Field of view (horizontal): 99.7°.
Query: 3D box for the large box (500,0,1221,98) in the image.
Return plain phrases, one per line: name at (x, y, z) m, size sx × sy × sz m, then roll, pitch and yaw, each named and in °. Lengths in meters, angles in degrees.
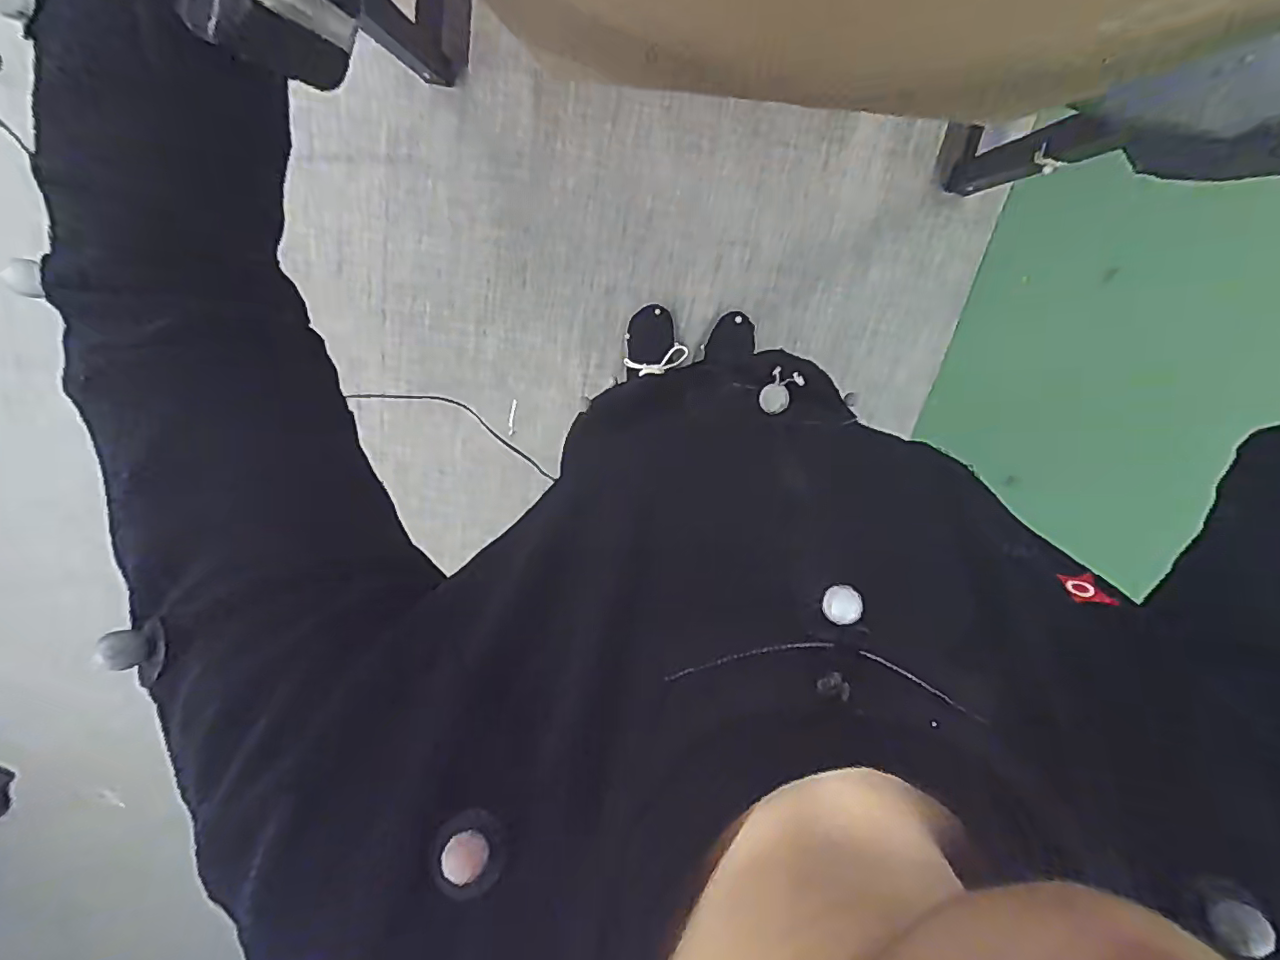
large box at (0.115, -0.417, 0.267) m, size 0.408 × 0.320 × 0.320 m, roll 6°, pitch 115°, yaw 1°
